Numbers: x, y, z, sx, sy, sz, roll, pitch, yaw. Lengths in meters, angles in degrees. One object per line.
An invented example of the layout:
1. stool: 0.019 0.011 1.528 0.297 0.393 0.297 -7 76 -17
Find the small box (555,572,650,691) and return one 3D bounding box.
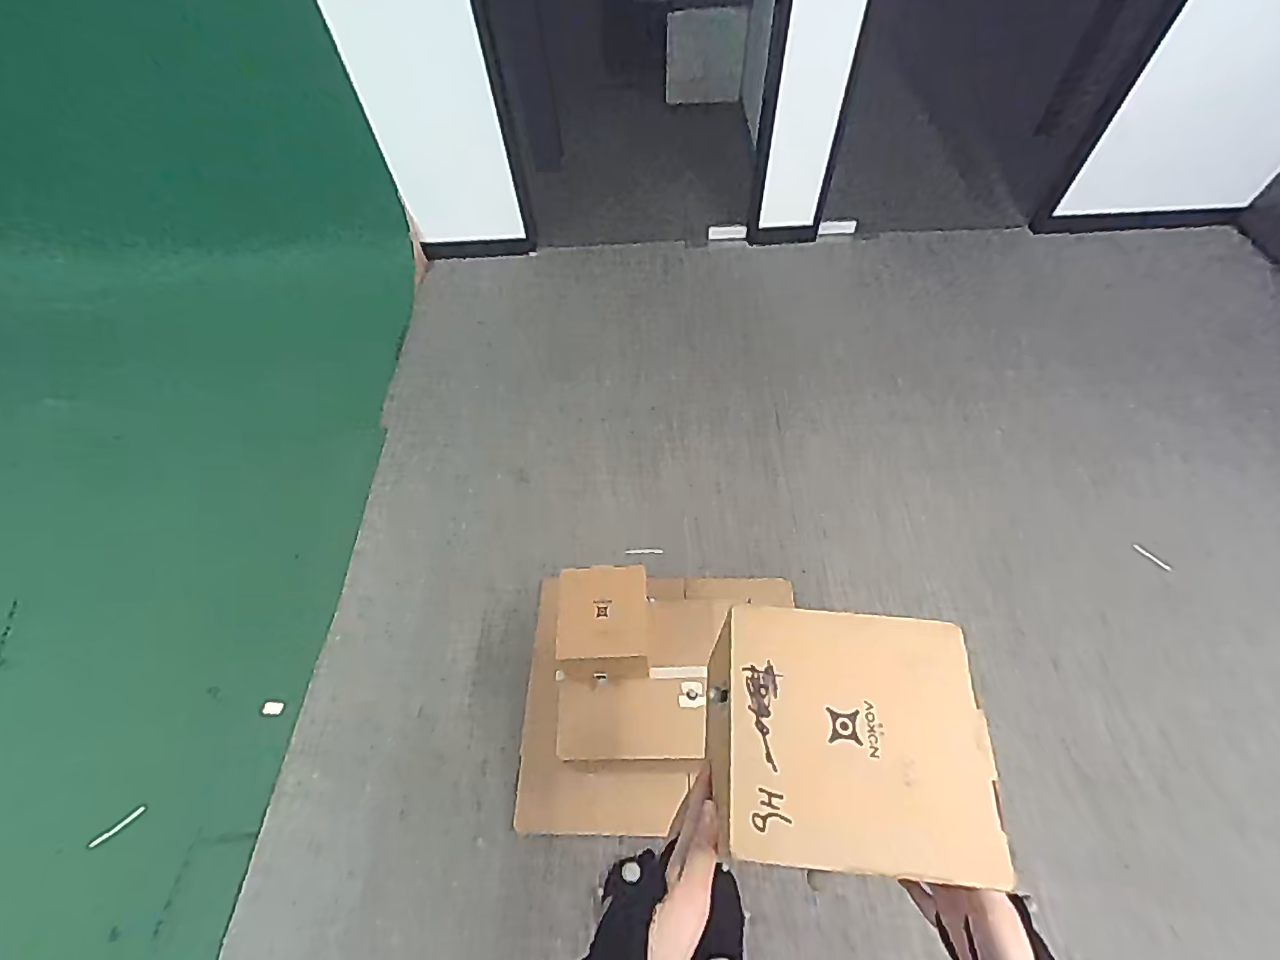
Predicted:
1. small box: -0.066 0.296 1.048 0.168 0.176 0.179 -3 56 1

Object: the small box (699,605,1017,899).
1. small box: 0.149 0.218 0.438 0.179 0.176 0.168 6 56 3

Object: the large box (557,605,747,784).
1. large box: 0.040 0.486 1.209 0.408 0.320 0.320 -1 57 0
